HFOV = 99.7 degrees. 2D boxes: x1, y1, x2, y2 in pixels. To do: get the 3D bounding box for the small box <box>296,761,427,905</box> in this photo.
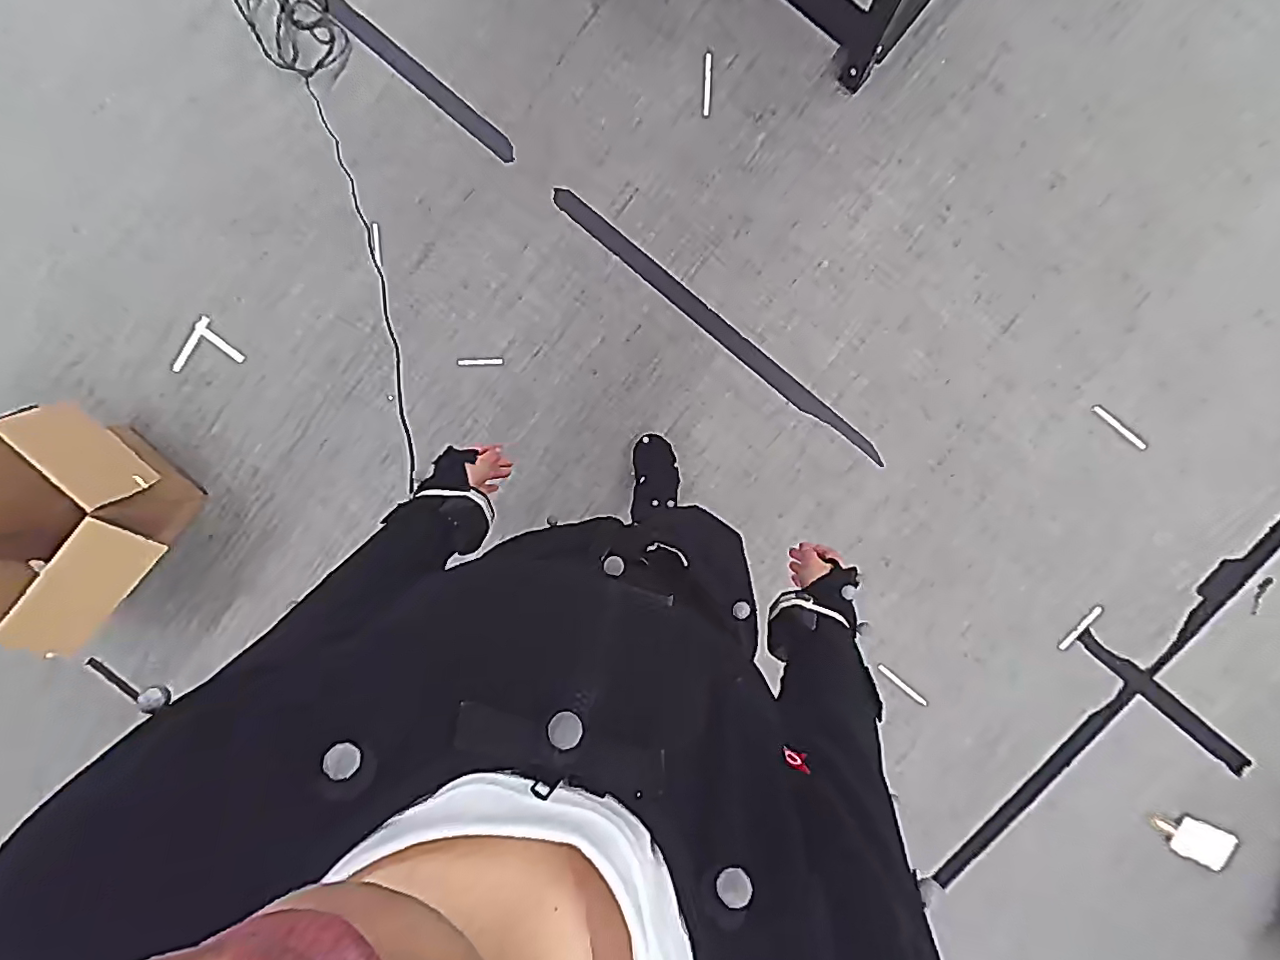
[{"bbox_3d":[-0.625,0.796,1.237,0.168,0.176,0.179,36,96,0],"label":"small box"}]
